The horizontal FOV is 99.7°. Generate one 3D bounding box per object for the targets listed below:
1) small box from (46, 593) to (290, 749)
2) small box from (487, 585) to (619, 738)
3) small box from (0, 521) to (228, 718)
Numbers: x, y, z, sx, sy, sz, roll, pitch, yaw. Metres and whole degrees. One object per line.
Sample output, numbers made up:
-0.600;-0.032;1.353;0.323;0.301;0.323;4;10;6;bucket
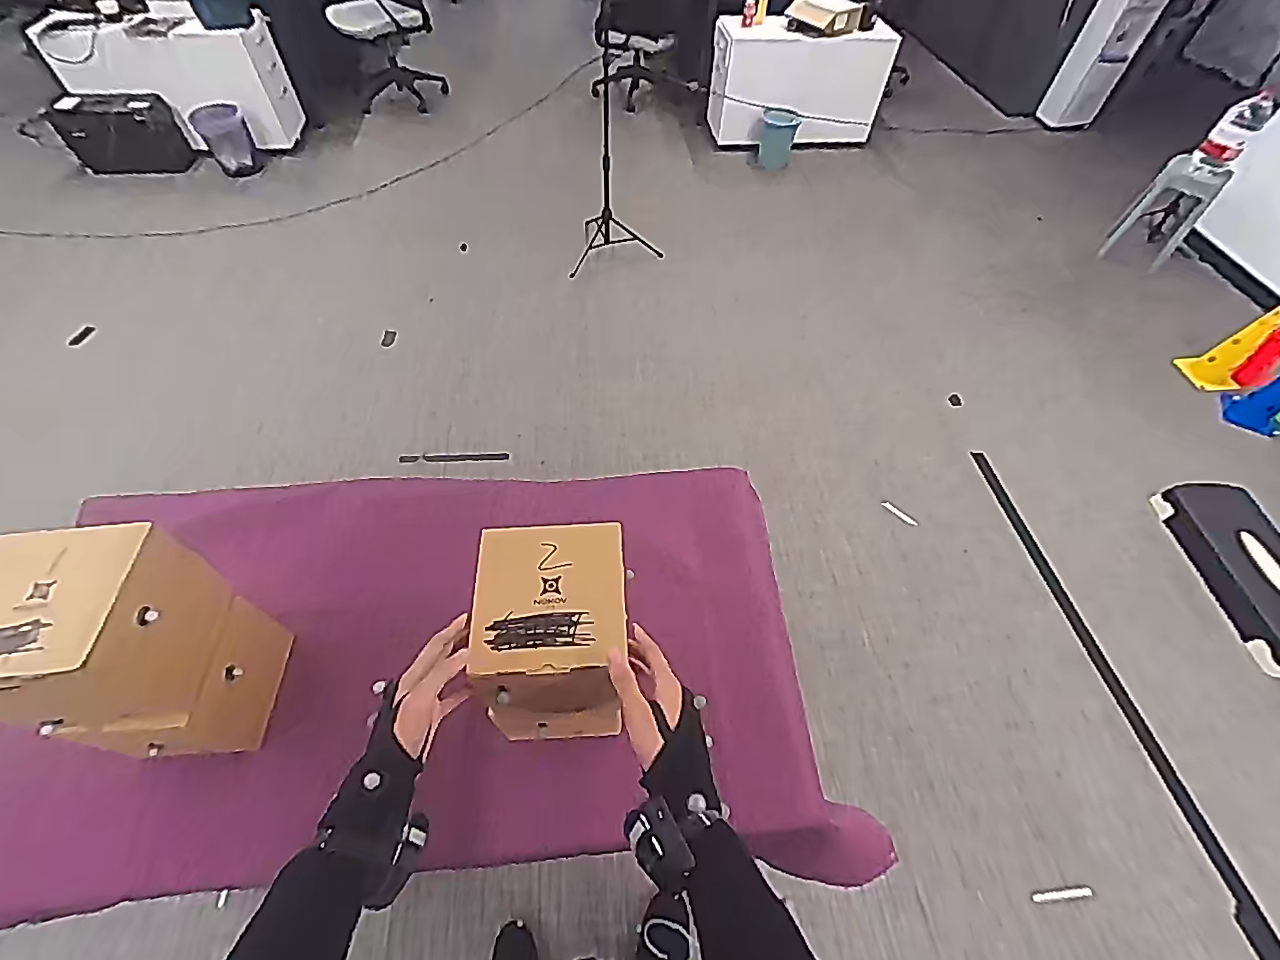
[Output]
-0.635;0.274;0.761;0.168;0.176;0.179;0;54;-4;small box
-0.115;0.271;0.791;0.168;0.176;0.179;-1;54;-3;small box
-0.633;0.169;0.634;0.168;0.176;0.179;-4;54;-6;small box
